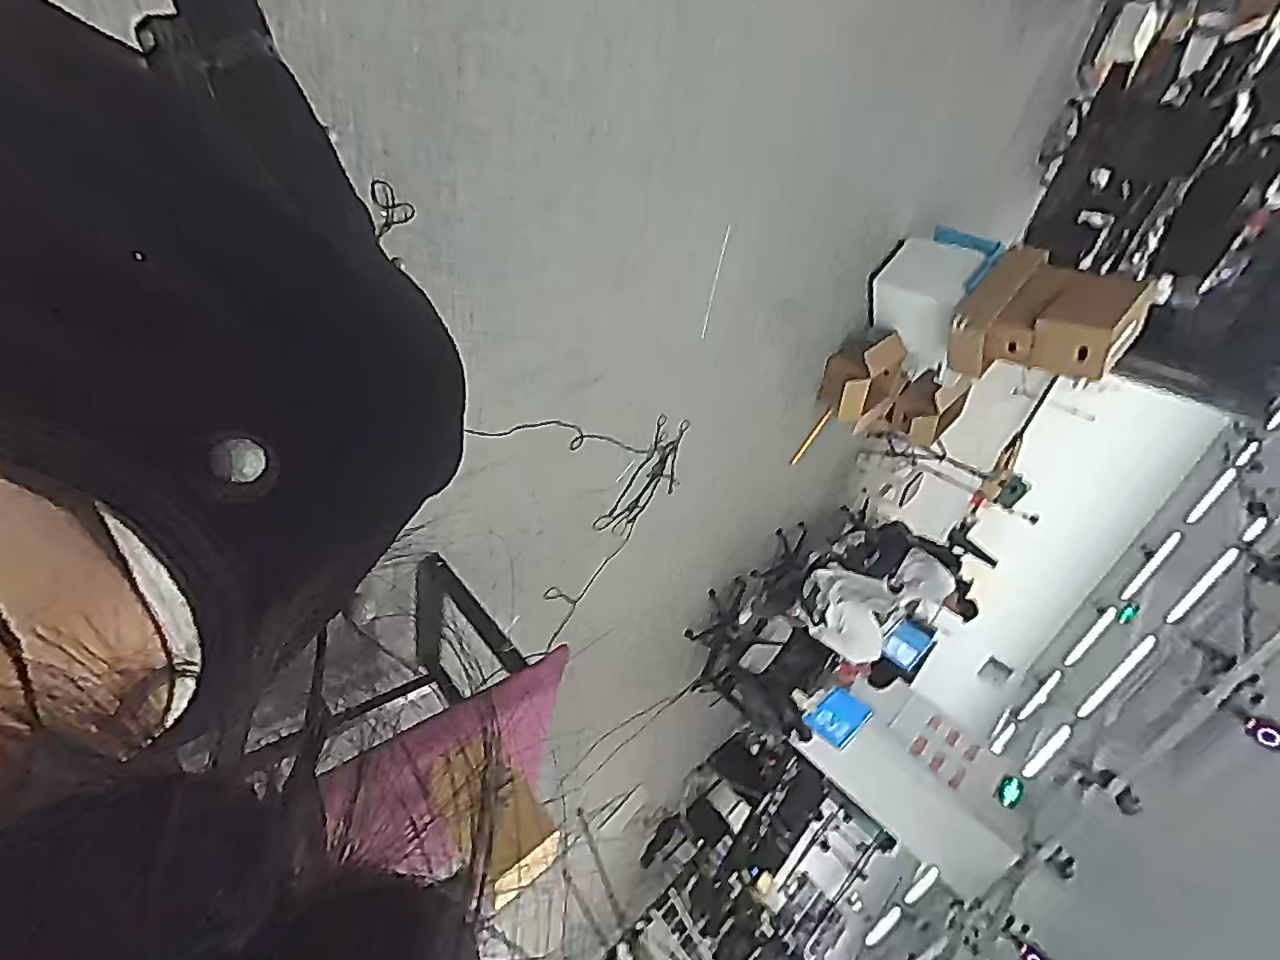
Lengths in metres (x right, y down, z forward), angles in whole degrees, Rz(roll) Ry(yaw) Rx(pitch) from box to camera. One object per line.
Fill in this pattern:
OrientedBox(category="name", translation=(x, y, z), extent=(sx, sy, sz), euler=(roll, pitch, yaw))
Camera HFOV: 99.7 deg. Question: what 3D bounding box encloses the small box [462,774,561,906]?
OrientedBox(category="small box", translation=(-0.314, 0.855, 1.300), extent=(0.168, 0.176, 0.179), euler=(-20, 134, -40))
